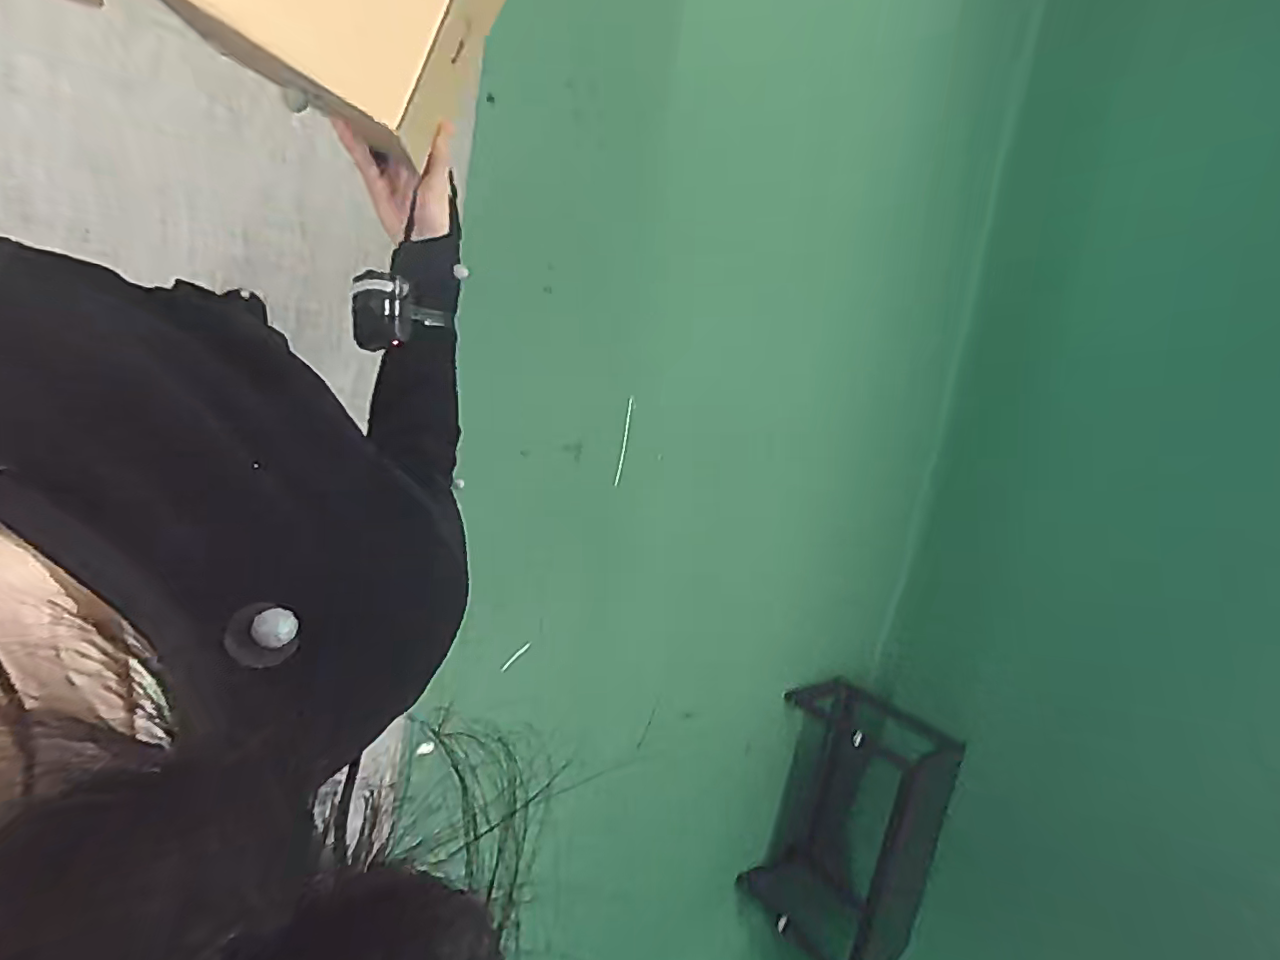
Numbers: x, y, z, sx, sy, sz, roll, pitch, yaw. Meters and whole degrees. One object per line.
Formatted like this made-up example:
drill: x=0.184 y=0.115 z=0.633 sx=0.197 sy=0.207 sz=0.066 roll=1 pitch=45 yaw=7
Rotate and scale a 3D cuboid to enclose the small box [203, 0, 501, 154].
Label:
small box: x=-0.191 y=-0.361 z=0.350 sx=0.176 sy=0.168 sz=0.179 roll=25 pitch=101 yaw=-22
